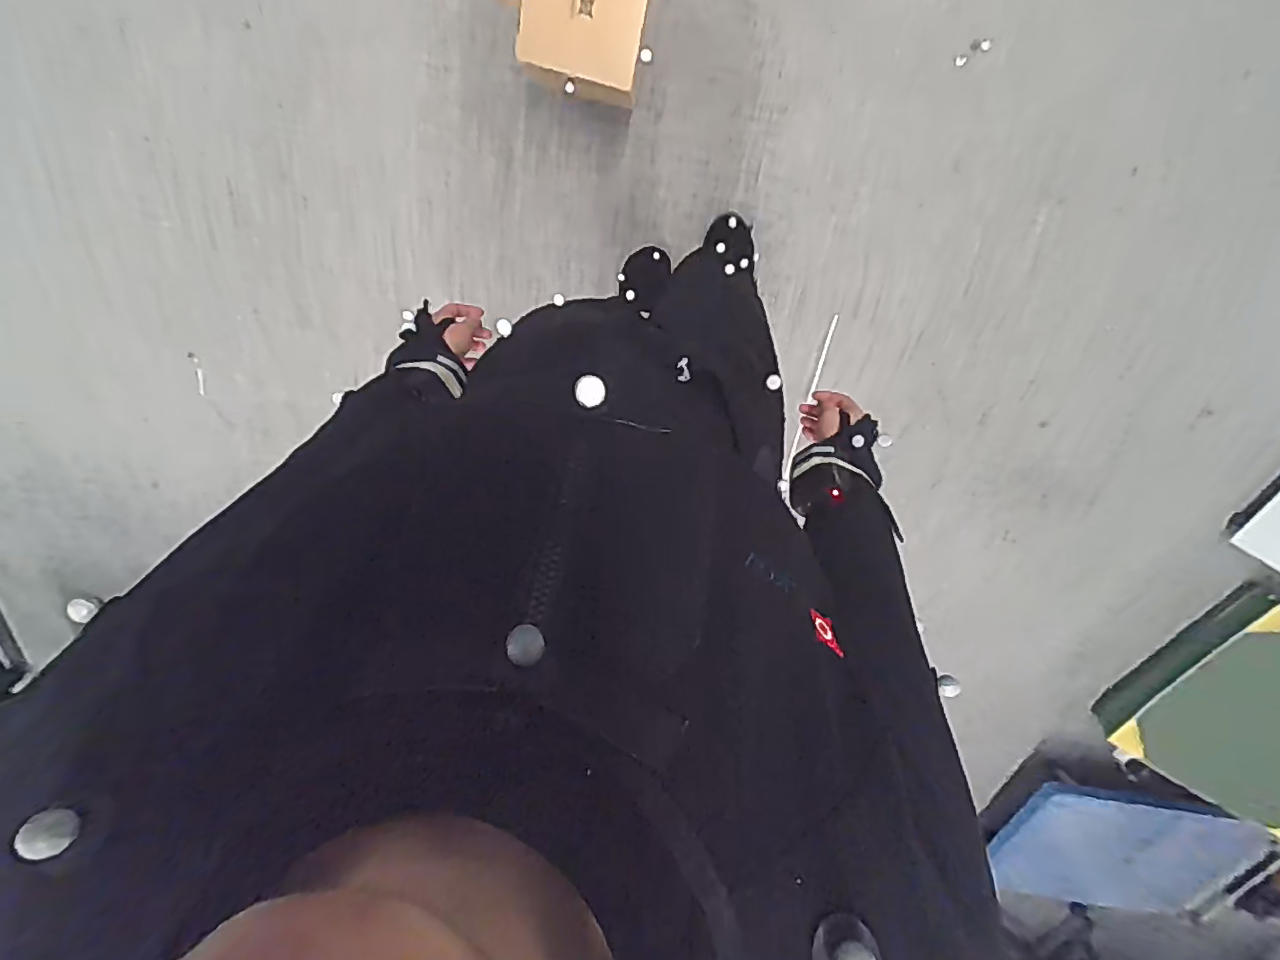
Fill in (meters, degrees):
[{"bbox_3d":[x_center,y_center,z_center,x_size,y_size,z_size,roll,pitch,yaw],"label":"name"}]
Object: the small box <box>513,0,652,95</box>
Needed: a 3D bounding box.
[{"bbox_3d":[-0.078,-0.703,0.813,0.179,0.176,0.168,12,118,-4],"label":"small box"}]
